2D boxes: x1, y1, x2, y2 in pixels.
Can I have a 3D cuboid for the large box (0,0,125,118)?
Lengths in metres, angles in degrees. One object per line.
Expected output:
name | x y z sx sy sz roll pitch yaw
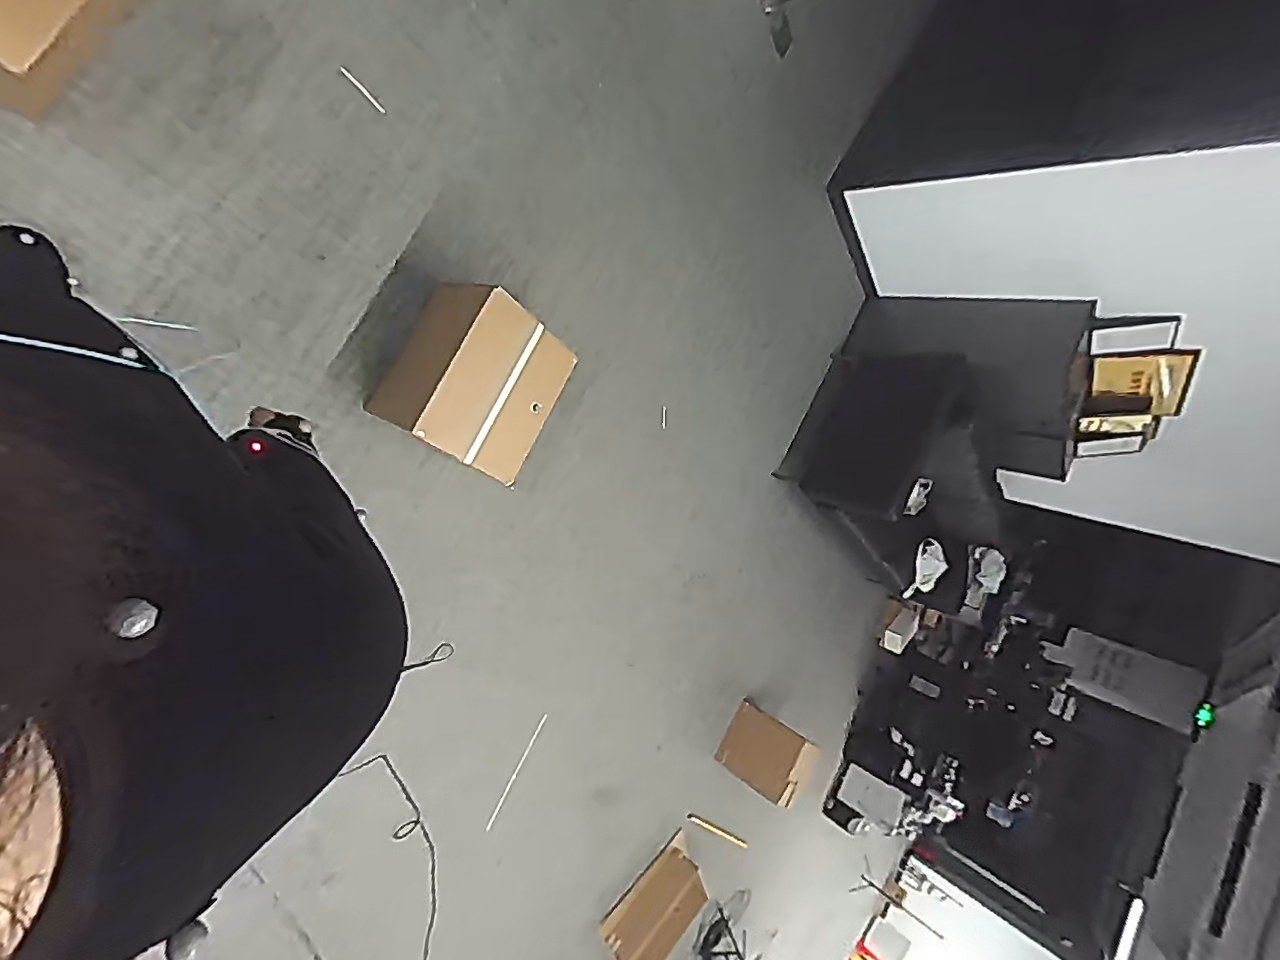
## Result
large box | -0.939 -0.818 0.749 0.320 0.320 0.408 36 78 -47
